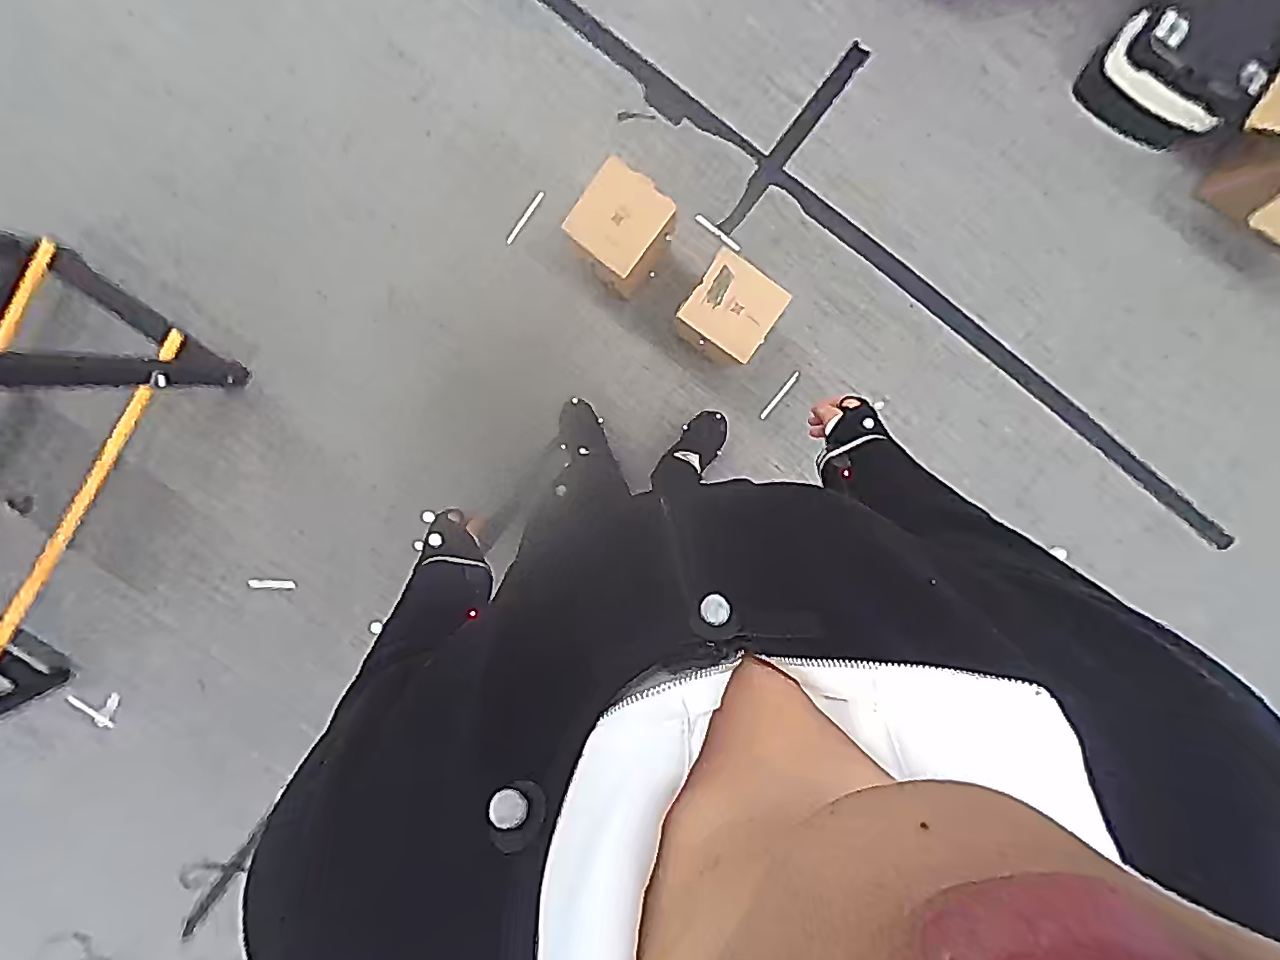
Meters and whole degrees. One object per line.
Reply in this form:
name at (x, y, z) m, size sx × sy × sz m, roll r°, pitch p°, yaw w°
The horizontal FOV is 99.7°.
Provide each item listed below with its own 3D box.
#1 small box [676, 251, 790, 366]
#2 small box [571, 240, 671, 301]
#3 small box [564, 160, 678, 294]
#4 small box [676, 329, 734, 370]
small box at (0.191, -0.361, 1.180) m, size 0.179 × 0.176 × 0.168 m, roll 35°, pitch 99°, yaw -5°
small box at (-0.041, -0.558, 1.319) m, size 0.179 × 0.176 × 0.168 m, roll 39°, pitch 98°, yaw -5°
small box at (-0.037, -0.529, 1.159) m, size 0.168 × 0.176 × 0.179 m, roll 38°, pitch 100°, yaw -3°
small box at (0.204, -0.388, 1.343) m, size 0.168 × 0.176 × 0.179 m, roll 35°, pitch 100°, yaw -4°
